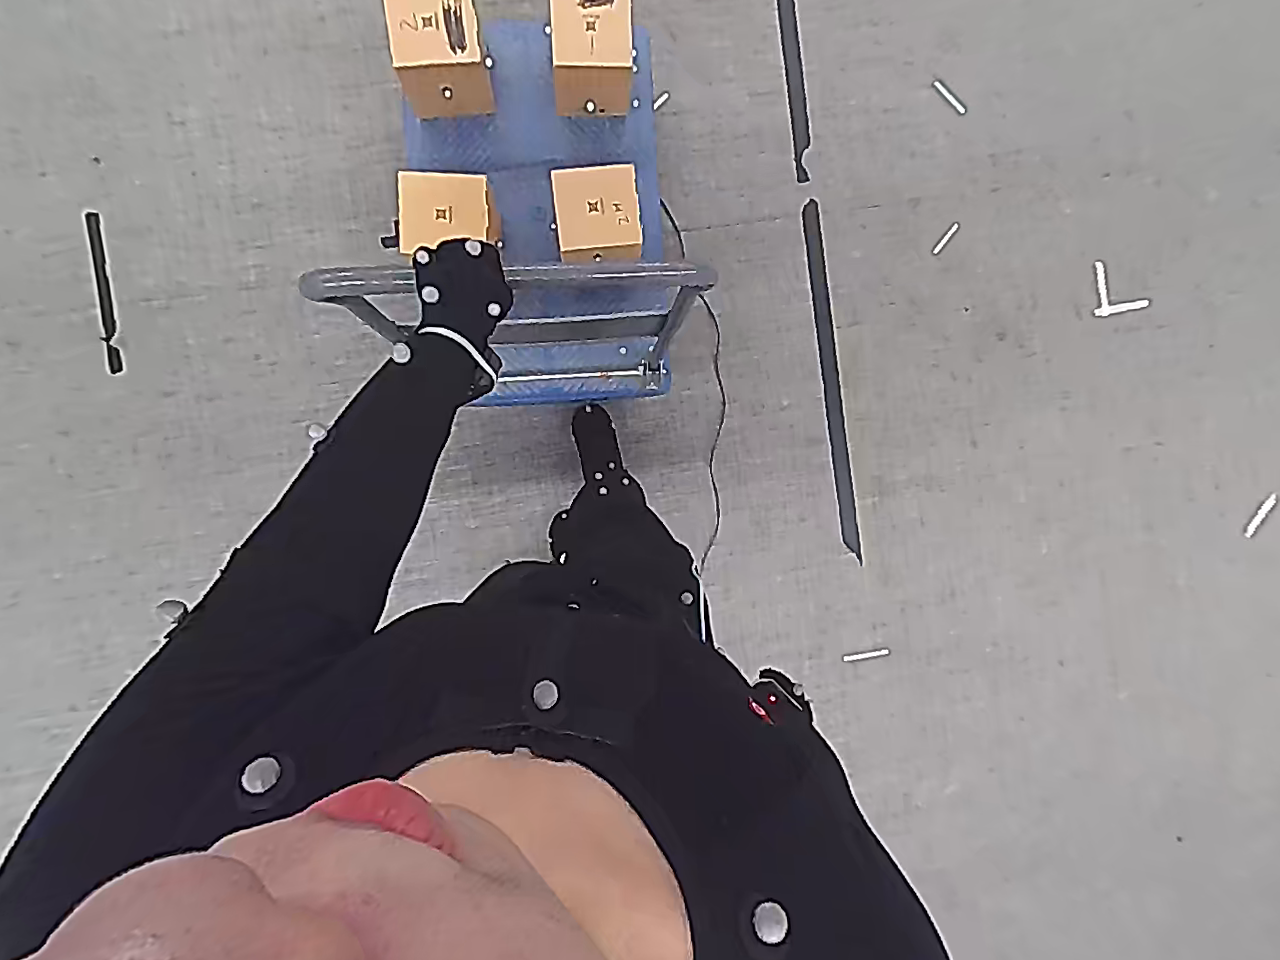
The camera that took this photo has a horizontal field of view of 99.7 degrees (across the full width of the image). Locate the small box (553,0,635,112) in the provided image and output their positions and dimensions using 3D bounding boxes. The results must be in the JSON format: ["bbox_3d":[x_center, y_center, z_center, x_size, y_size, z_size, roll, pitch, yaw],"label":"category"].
[{"bbox_3d":[-0.102,-0.942,1.171,0.168,0.176,0.179,-2,94,-5],"label":"small box"}]

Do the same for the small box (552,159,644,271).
[{"bbox_3d":[-0.091,-0.572,1.188,0.179,0.176,0.168,-7,93,-5],"label":"small box"}]

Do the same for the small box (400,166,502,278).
[{"bbox_3d":[-0.399,-0.545,1.162,0.179,0.176,0.168,-1,92,-7],"label":"small box"}]
